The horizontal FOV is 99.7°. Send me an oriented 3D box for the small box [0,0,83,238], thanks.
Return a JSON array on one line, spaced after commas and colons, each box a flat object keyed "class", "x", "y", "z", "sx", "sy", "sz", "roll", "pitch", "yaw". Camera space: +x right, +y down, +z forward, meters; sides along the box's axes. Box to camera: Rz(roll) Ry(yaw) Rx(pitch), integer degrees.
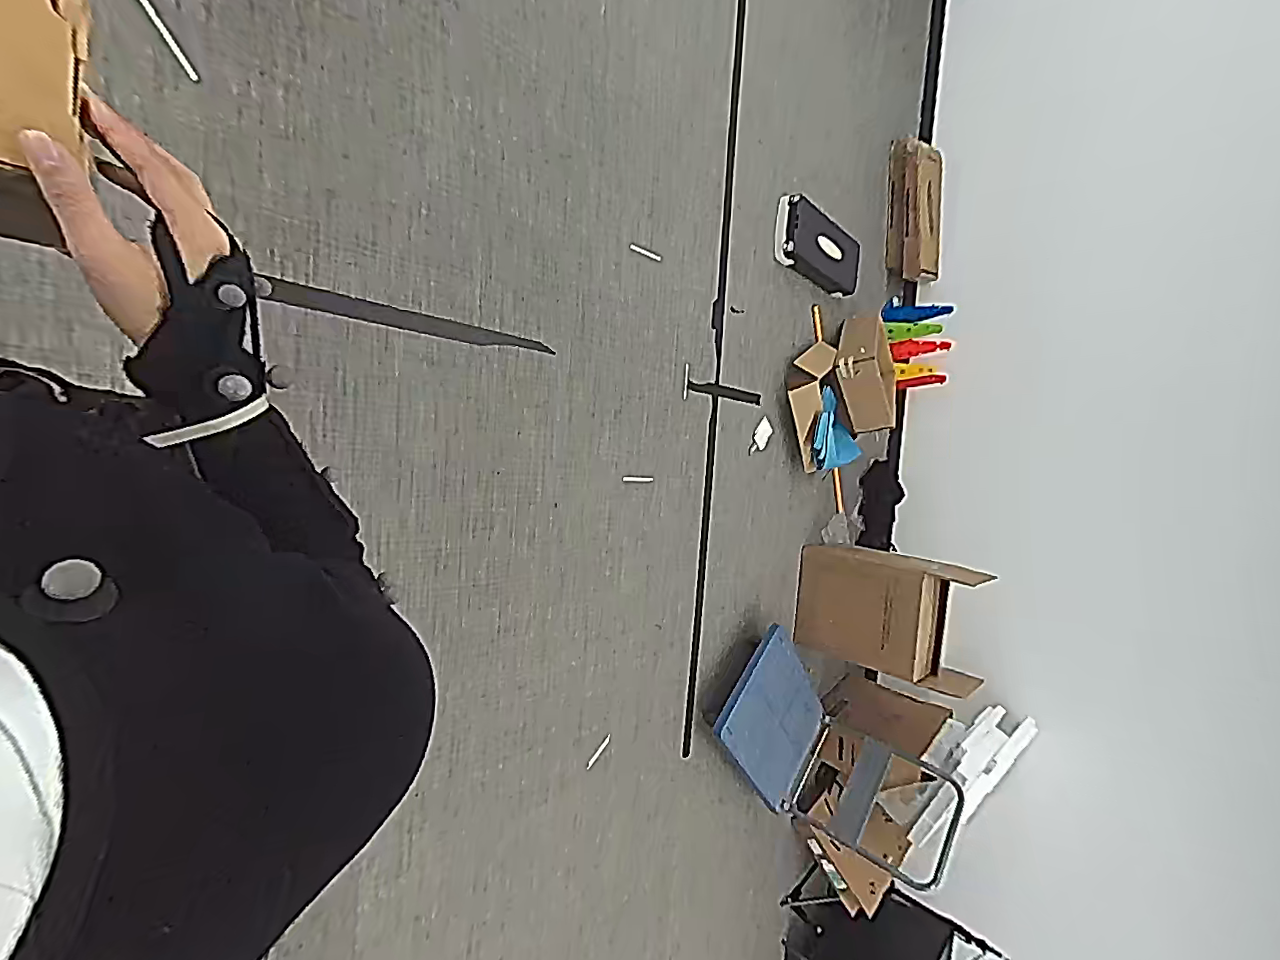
[{"class": "small box", "x": -0.396, "y": -0.238, "z": 0.260, "sx": 0.179, "sy": 0.176, "sz": 0.168, "roll": 1, "pitch": 94, "yaw": -47}]
